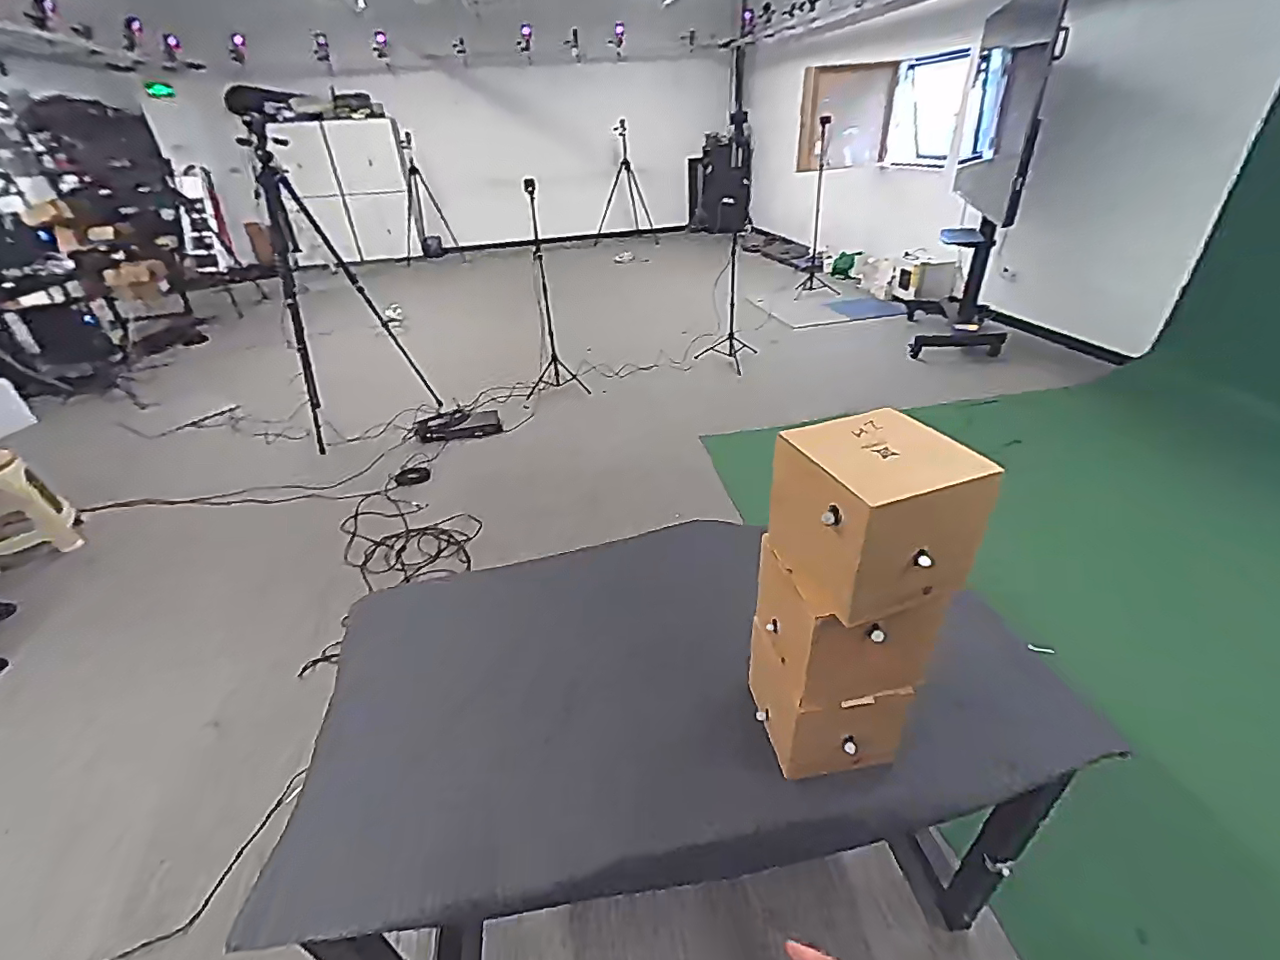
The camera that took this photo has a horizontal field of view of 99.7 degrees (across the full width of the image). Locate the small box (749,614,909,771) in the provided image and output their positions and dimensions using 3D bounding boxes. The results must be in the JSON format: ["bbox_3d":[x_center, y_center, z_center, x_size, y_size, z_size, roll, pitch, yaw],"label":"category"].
[{"bbox_3d":[0.271,0.311,0.816,0.168,0.176,0.179,-8,32,-5],"label":"small box"}]

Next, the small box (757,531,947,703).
[{"bbox_3d":[0.269,0.171,0.732,0.179,0.176,0.168,-10,32,-7],"label":"small box"}]

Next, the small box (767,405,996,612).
[{"bbox_3d":[0.266,0.034,0.639,0.168,0.176,0.179,-14,33,-14],"label":"small box"}]
